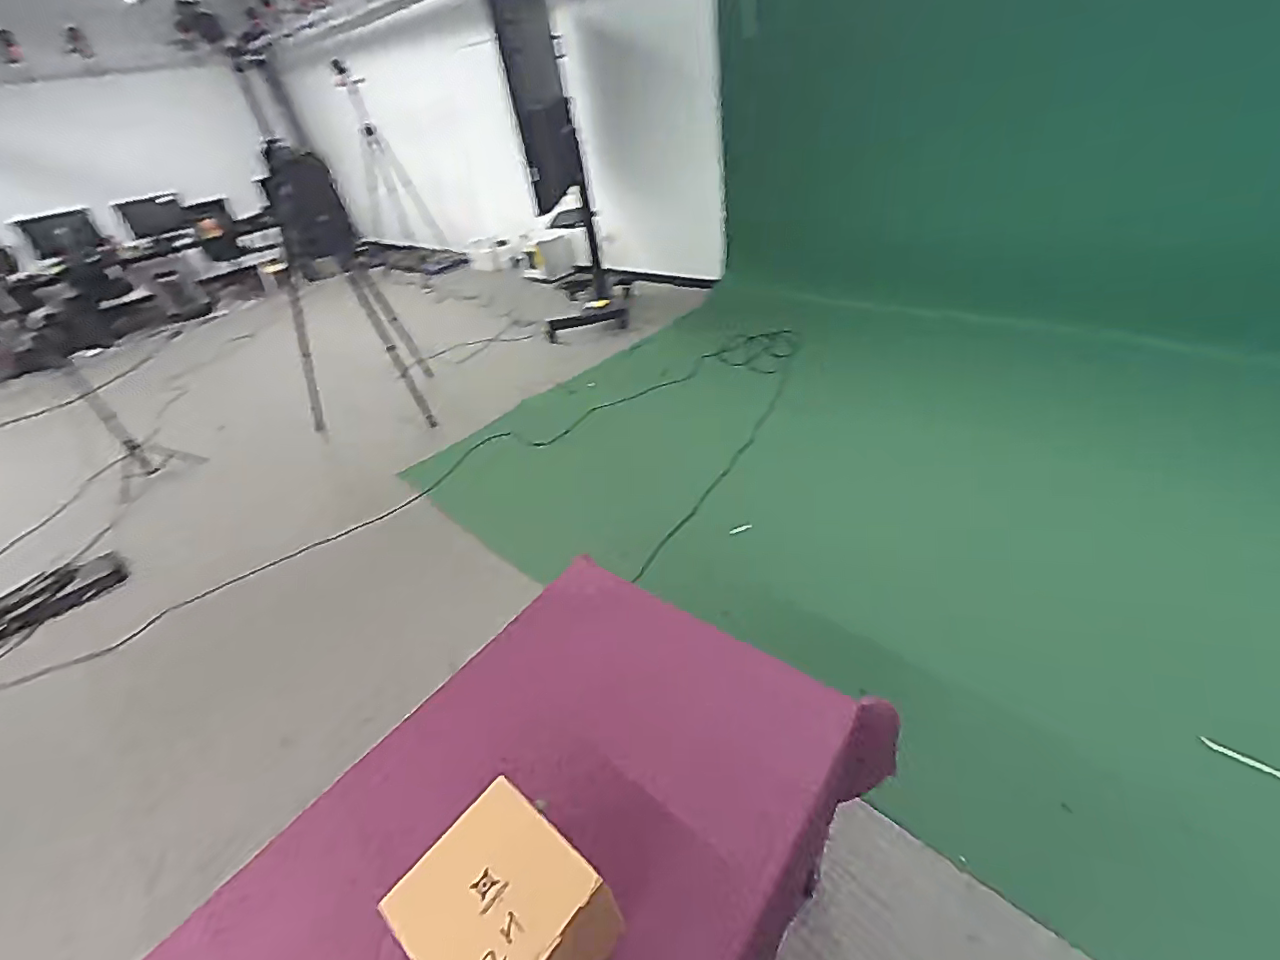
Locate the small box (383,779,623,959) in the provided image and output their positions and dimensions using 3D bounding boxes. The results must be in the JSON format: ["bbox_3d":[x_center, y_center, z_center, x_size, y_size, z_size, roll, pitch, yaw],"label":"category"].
[{"bbox_3d":[-0.143,0.491,0.605,0.179,0.176,0.168,22,48,36],"label":"small box"}]
